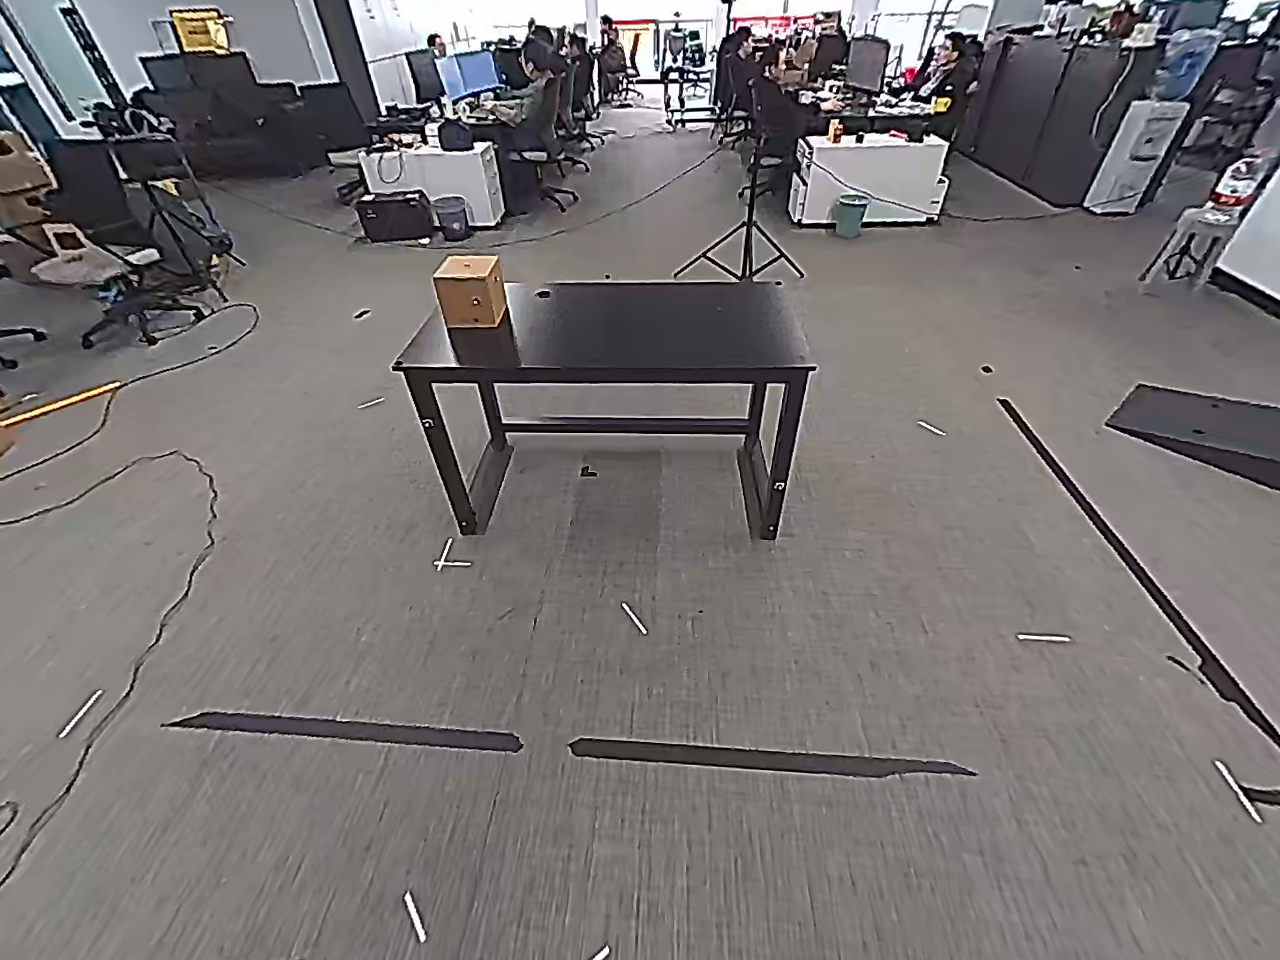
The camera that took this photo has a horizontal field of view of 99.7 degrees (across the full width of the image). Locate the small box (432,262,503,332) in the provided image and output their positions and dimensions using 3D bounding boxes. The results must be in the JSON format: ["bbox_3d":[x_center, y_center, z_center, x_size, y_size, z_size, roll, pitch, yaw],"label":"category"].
[{"bbox_3d":[-0.548,-0.590,1.747,0.168,0.176,0.179,1,41,1],"label":"small box"}]
